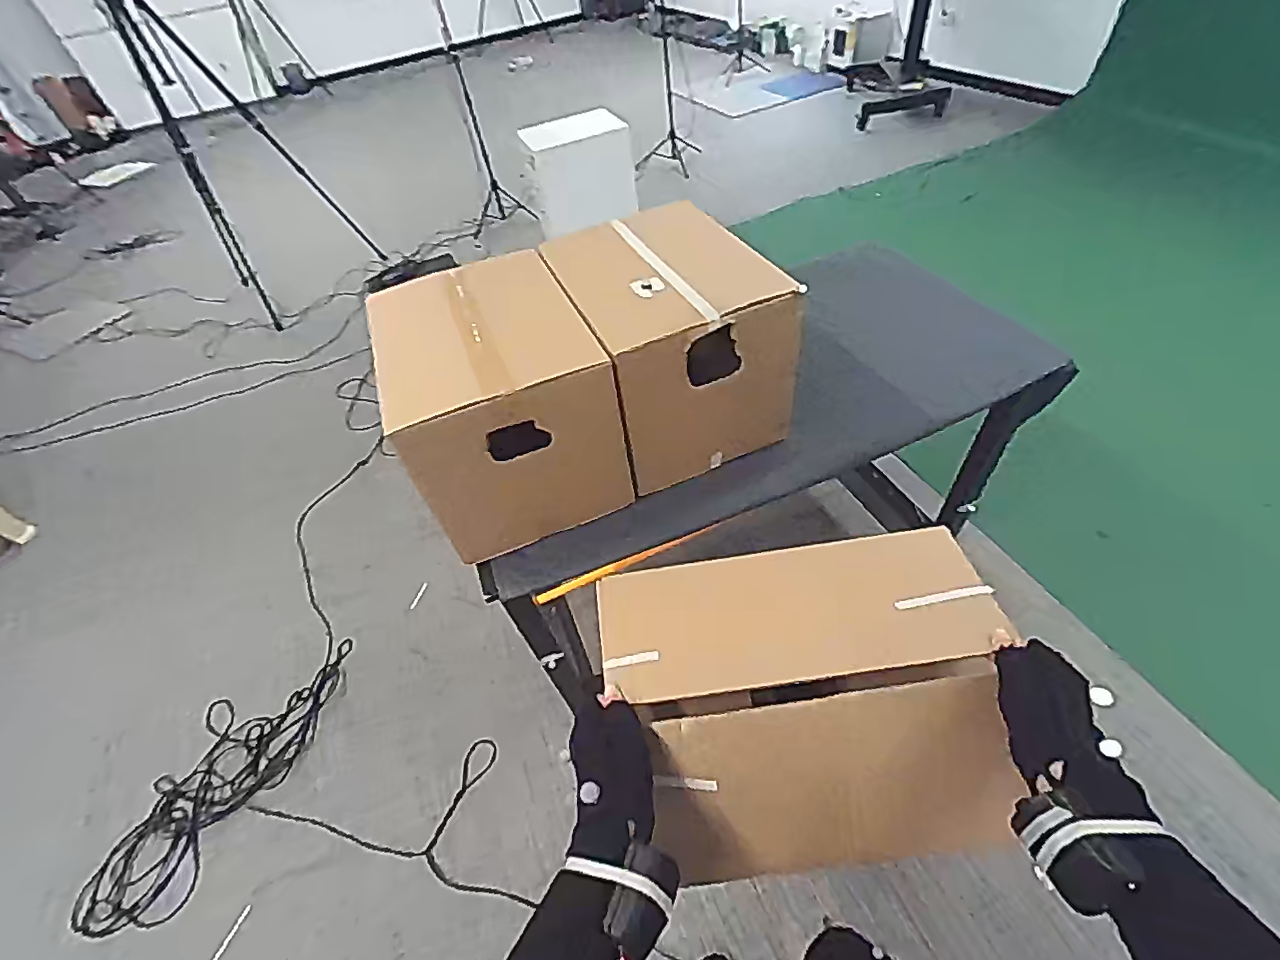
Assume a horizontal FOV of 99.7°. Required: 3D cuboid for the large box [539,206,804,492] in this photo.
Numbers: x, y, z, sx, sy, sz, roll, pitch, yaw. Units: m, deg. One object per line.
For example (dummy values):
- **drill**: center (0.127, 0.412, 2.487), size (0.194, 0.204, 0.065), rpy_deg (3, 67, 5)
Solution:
- **large box**: center (0.045, -0.254, 1.016), size (0.320, 0.320, 0.408), rpy_deg (-23, 50, -10)
